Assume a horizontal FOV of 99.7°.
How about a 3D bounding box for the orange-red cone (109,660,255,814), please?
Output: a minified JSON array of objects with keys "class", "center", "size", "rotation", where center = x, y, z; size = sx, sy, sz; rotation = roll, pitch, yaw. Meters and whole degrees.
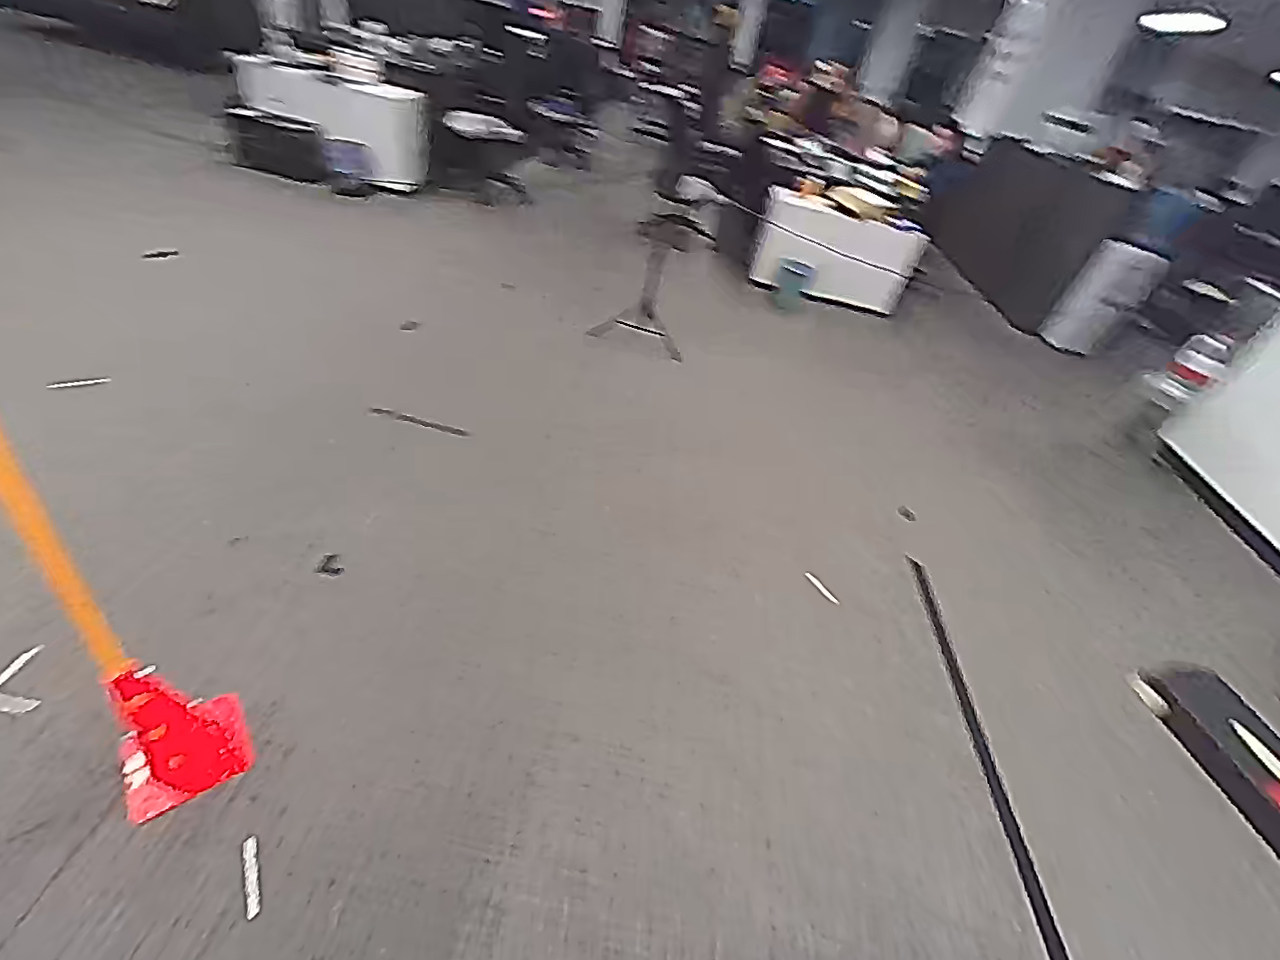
[{"class":"orange-red cone","center":[-0.921,0.454,1.045],"size":[0.198,0.360,0.199],"rotation":[-20,53,-33]}]
